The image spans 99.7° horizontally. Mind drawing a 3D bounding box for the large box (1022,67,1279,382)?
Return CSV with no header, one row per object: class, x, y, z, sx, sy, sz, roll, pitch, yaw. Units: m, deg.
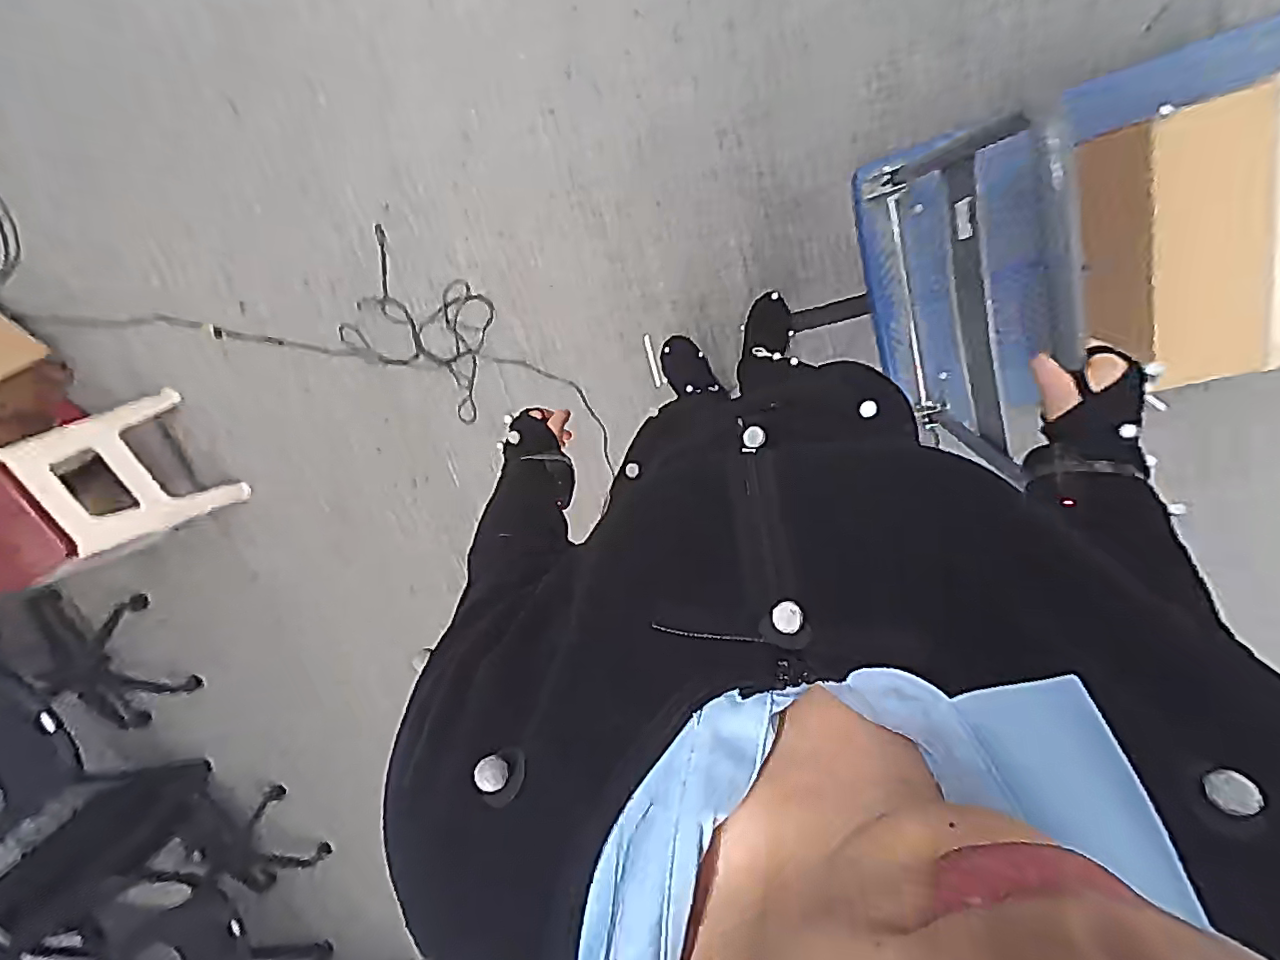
large box,0.926,-0.424,0.941,0.320,0.320,0.408,-15,106,12
